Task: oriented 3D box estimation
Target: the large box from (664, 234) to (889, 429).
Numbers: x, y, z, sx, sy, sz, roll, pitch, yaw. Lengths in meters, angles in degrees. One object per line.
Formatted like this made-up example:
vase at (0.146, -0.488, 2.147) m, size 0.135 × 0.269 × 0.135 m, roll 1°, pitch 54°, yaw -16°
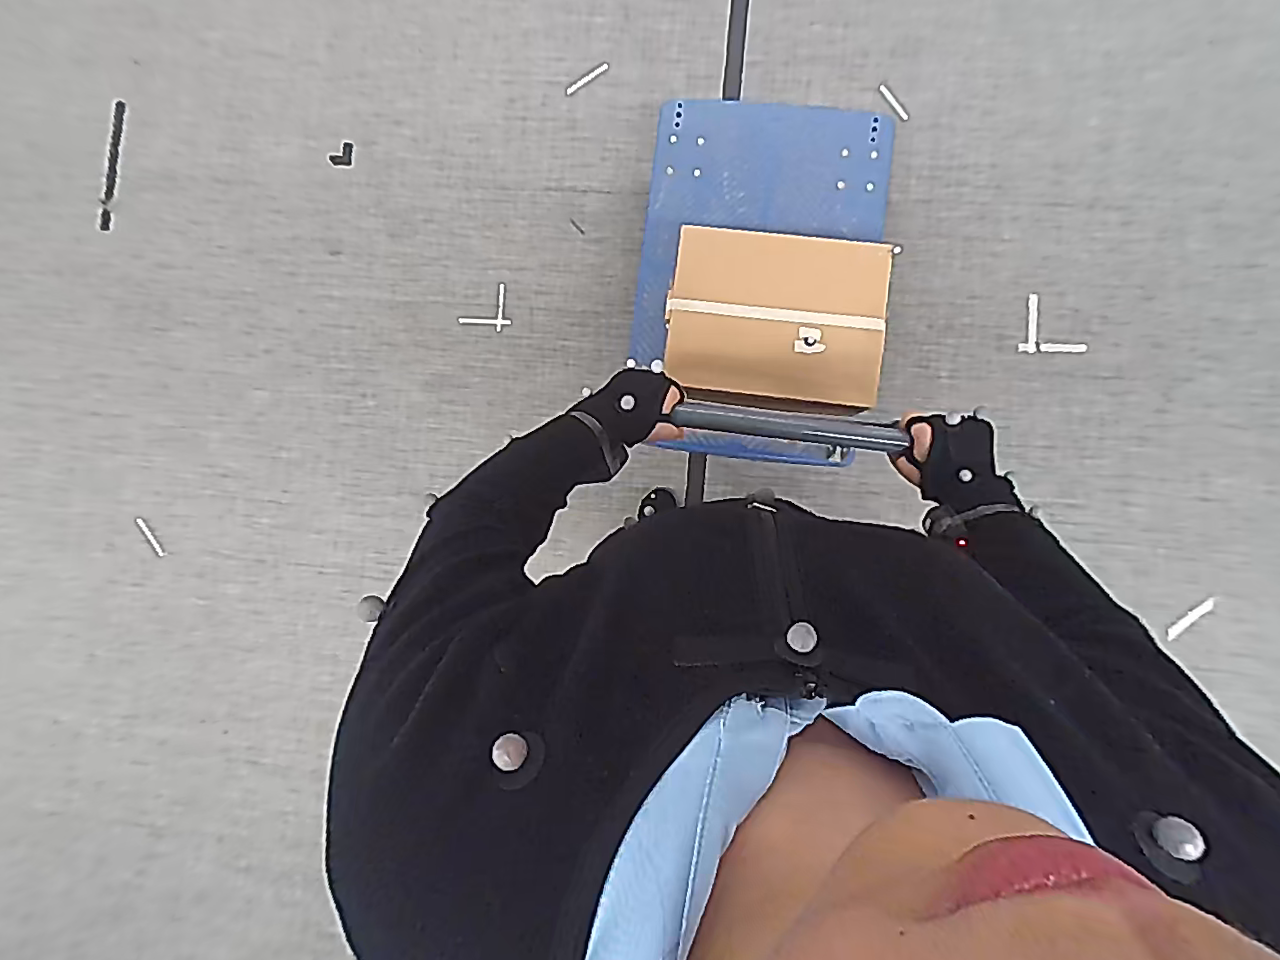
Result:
large box at (0.264, -0.298, 1.179) m, size 0.408 × 0.320 × 0.320 m, roll 7°, pitch 90°, yaw 3°
